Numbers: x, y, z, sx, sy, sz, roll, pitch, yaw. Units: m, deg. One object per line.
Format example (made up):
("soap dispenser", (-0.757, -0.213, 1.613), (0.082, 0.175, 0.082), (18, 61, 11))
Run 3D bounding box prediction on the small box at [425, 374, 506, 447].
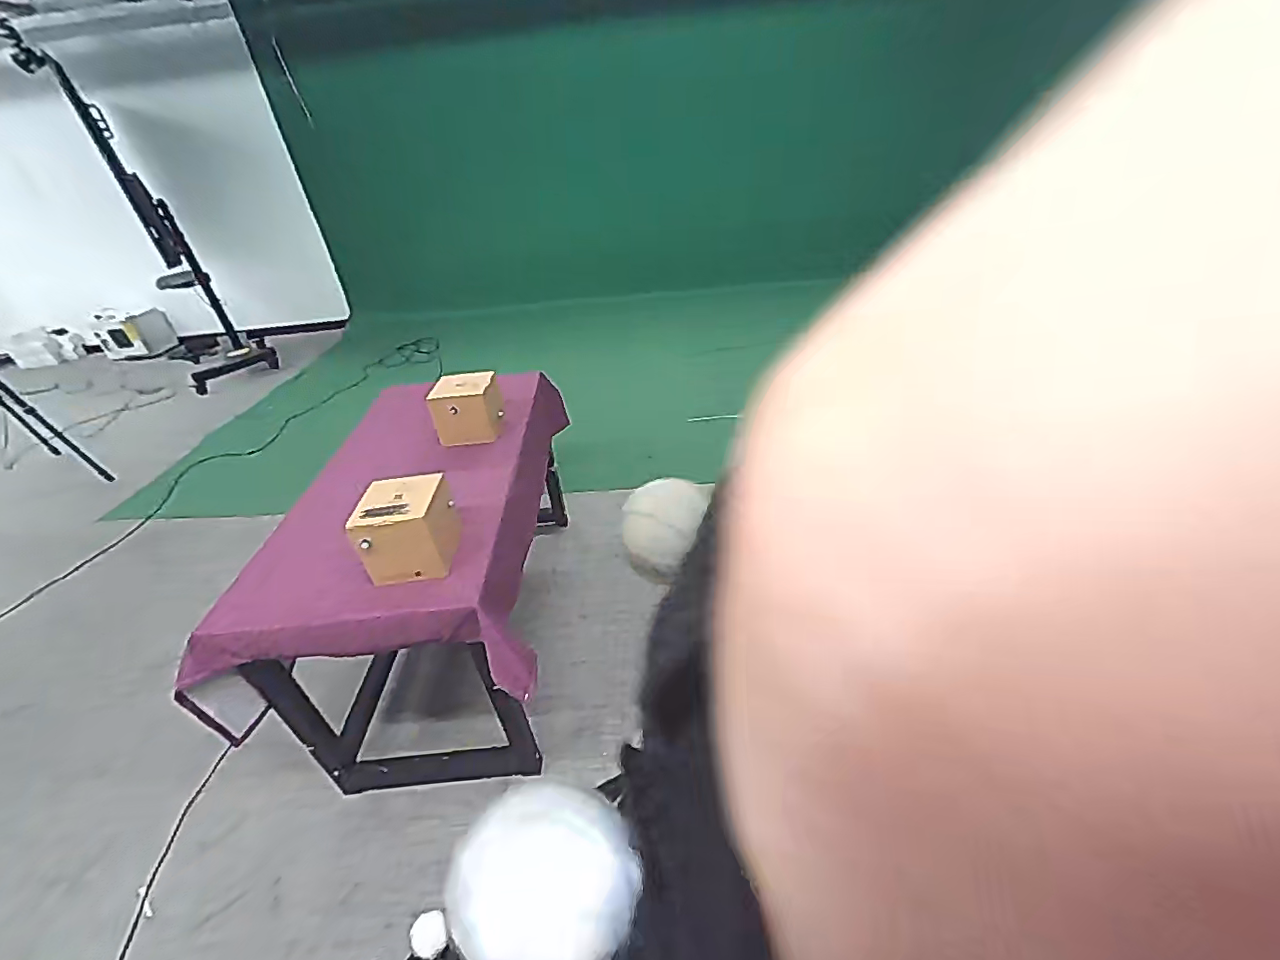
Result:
("small box", (-0.539, -0.216, 1.696), (0.179, 0.176, 0.168), (-4, 35, 4))
